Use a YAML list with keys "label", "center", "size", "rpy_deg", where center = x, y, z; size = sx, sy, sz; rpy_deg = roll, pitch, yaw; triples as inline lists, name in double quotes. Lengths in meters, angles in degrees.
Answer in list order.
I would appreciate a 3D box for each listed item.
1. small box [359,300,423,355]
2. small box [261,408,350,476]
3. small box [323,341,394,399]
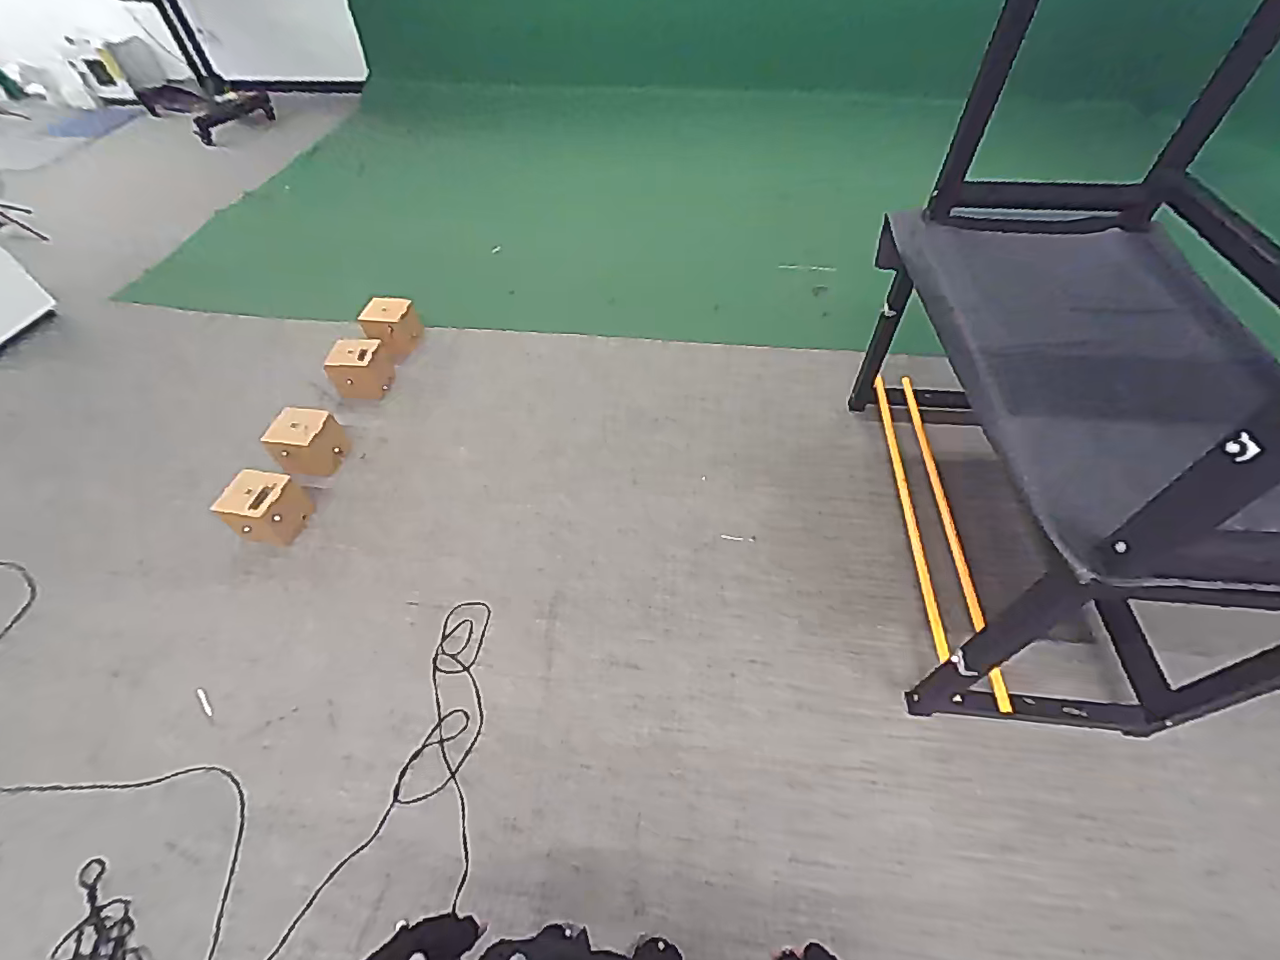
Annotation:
- label: "small box"
  center: [-1.075, -0.661, 2.349]
  size: [0.179, 0.176, 0.168]
  rpy_deg: [5, 52, 4]
- label: "small box"
  center: [-1.173, -0.131, 1.910]
  size: [0.179, 0.176, 0.168]
  rpy_deg: [6, 52, 5]
- label: "small box"
  center: [-1.115, -0.438, 2.164]
  size: [0.179, 0.176, 0.168]
  rpy_deg: [1, 50, 3]
